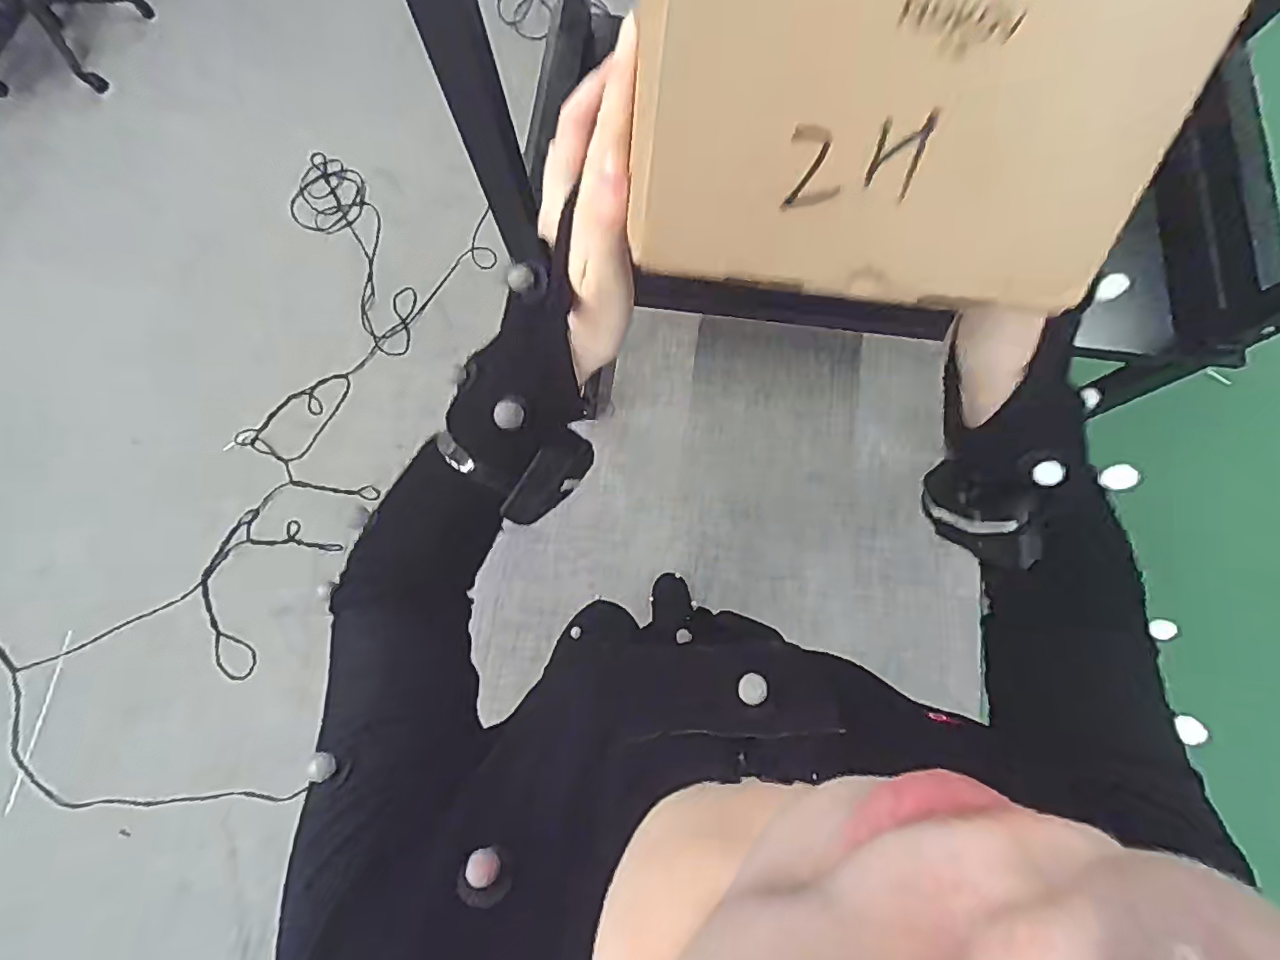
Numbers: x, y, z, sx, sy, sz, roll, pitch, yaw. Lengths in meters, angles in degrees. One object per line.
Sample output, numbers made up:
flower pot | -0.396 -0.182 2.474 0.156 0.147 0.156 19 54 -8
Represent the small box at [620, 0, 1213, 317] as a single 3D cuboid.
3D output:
small box | 0.082 -0.186 0.221 0.168 0.179 0.176 4 35 -6
